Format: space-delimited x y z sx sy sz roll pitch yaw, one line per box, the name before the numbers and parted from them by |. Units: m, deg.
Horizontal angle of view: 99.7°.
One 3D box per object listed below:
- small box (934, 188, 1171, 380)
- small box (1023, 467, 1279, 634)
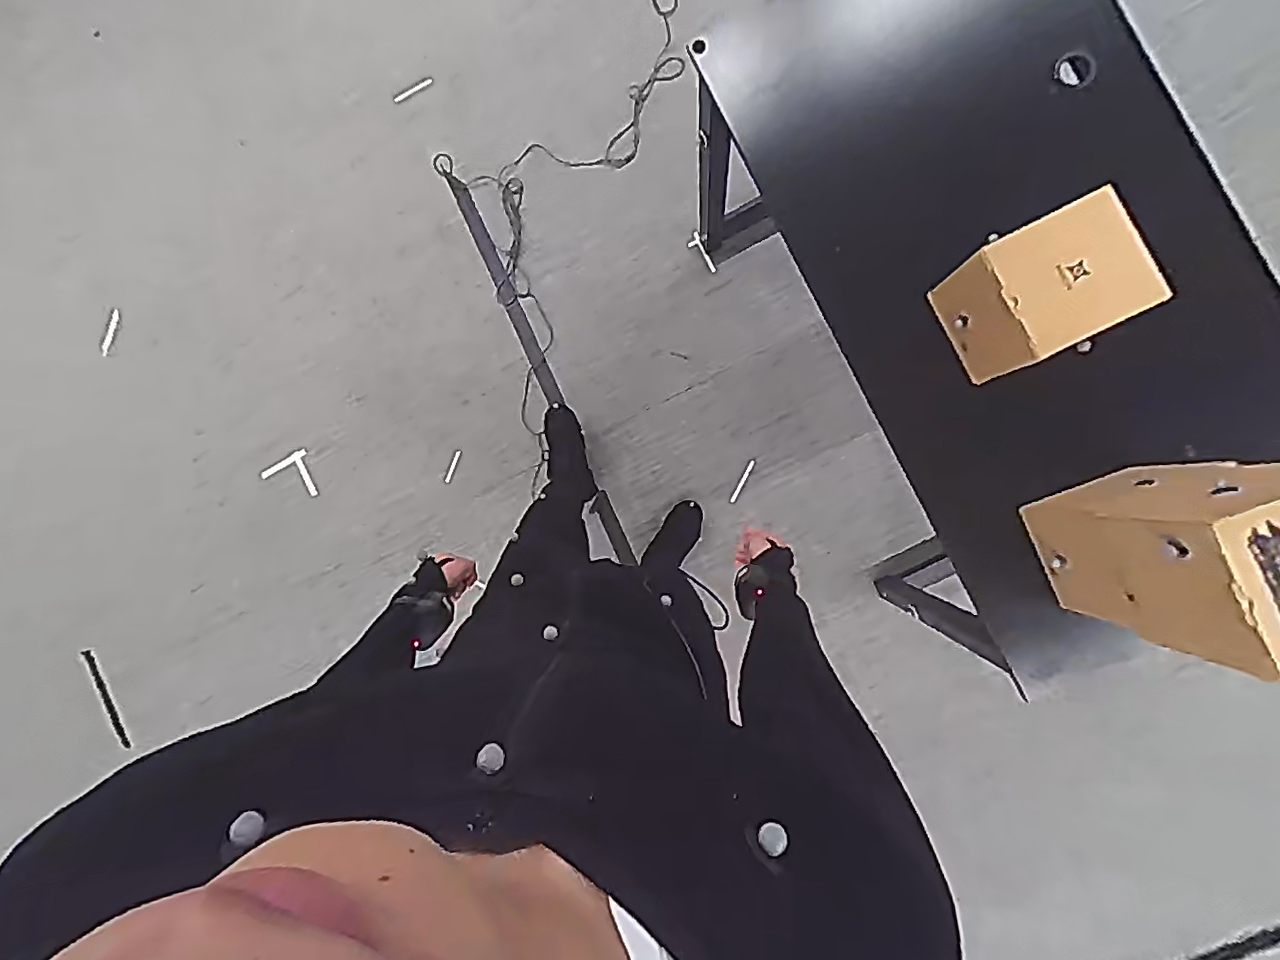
small box | 0.562 -0.262 0.765 0.179 0.176 0.168 -26 87 6
small box | 0.688 0.088 0.747 0.179 0.176 0.168 -21 86 5
